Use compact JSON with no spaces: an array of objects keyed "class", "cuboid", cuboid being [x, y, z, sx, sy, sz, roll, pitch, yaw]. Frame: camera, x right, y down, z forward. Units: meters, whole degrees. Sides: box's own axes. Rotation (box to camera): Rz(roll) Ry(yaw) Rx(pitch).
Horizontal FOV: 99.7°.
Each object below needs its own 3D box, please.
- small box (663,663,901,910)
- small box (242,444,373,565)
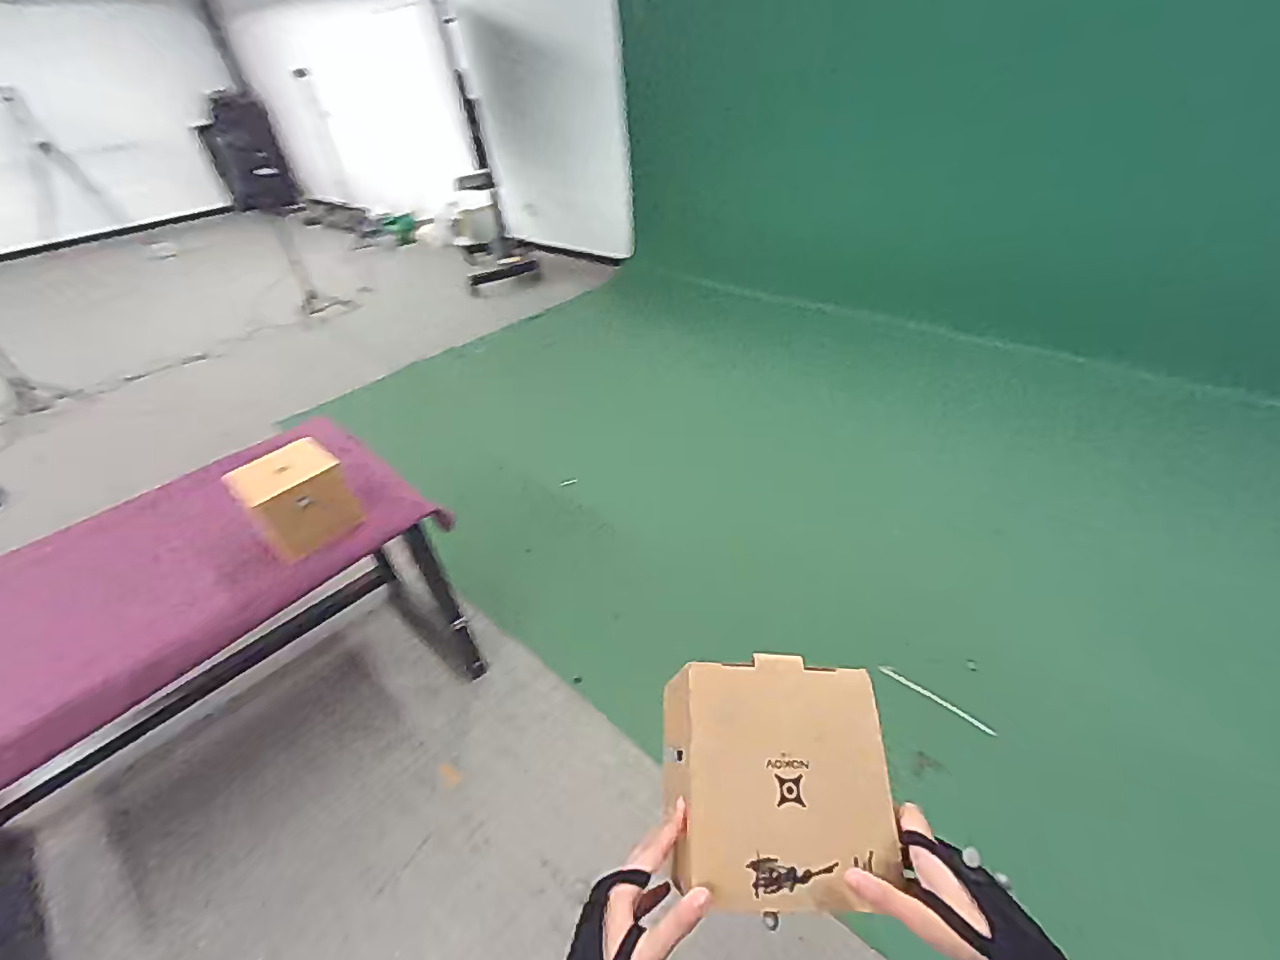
[{"class":"small box","cuboid":[0.111,0.281,0.511,0.168,0.176,0.179,2,61,-3]},{"class":"small box","cuboid":[-0.728,0.054,1.207,0.168,0.176,0.179,27,51,33]}]
